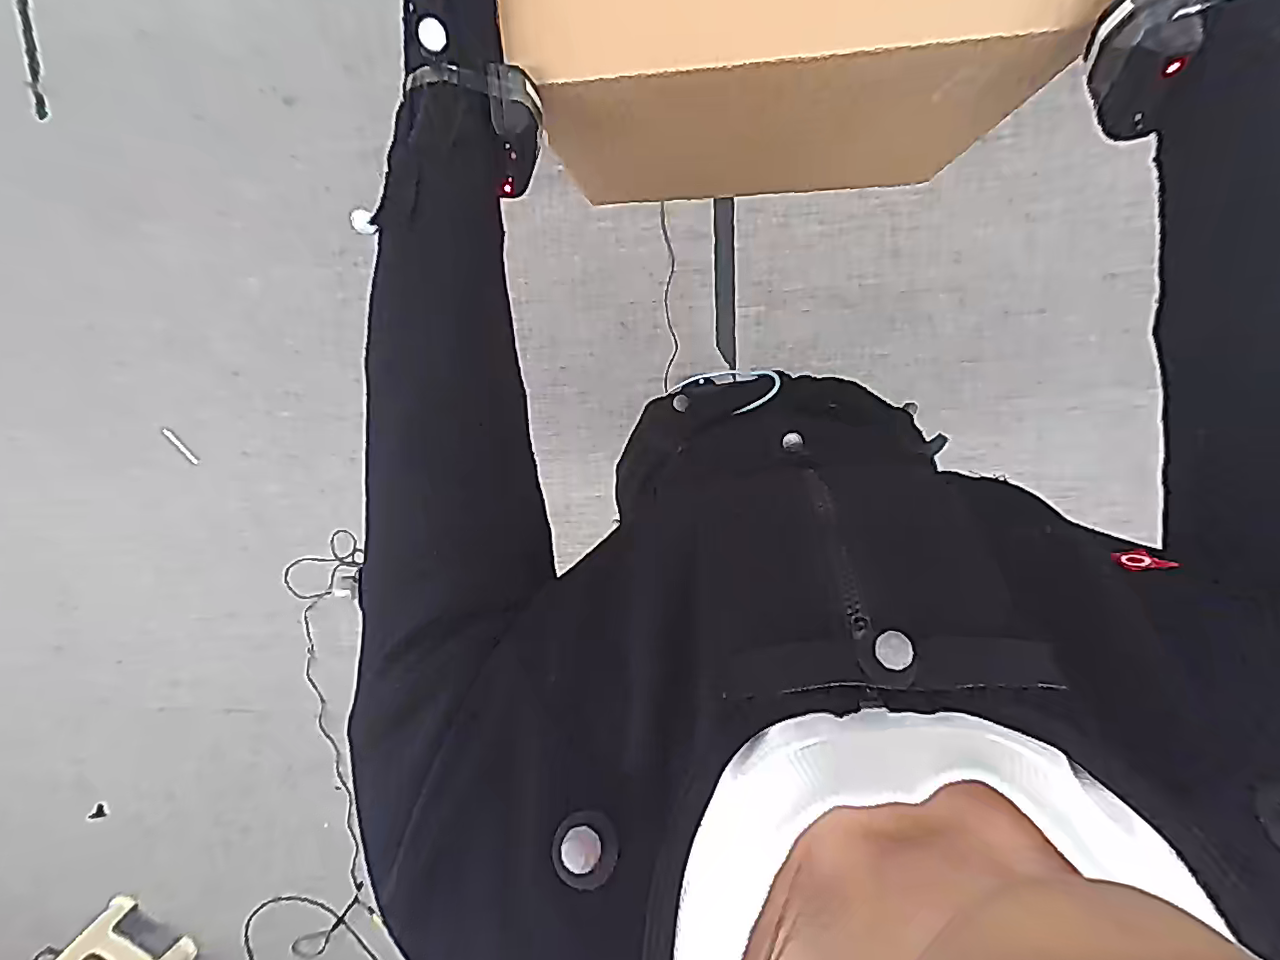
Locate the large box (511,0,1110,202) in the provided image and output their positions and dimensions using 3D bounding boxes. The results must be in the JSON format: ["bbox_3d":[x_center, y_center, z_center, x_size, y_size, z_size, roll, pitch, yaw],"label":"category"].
[{"bbox_3d":[0.113,-0.472,0.485,0.408,0.320,0.320,-1,103,6],"label":"large box"}]
